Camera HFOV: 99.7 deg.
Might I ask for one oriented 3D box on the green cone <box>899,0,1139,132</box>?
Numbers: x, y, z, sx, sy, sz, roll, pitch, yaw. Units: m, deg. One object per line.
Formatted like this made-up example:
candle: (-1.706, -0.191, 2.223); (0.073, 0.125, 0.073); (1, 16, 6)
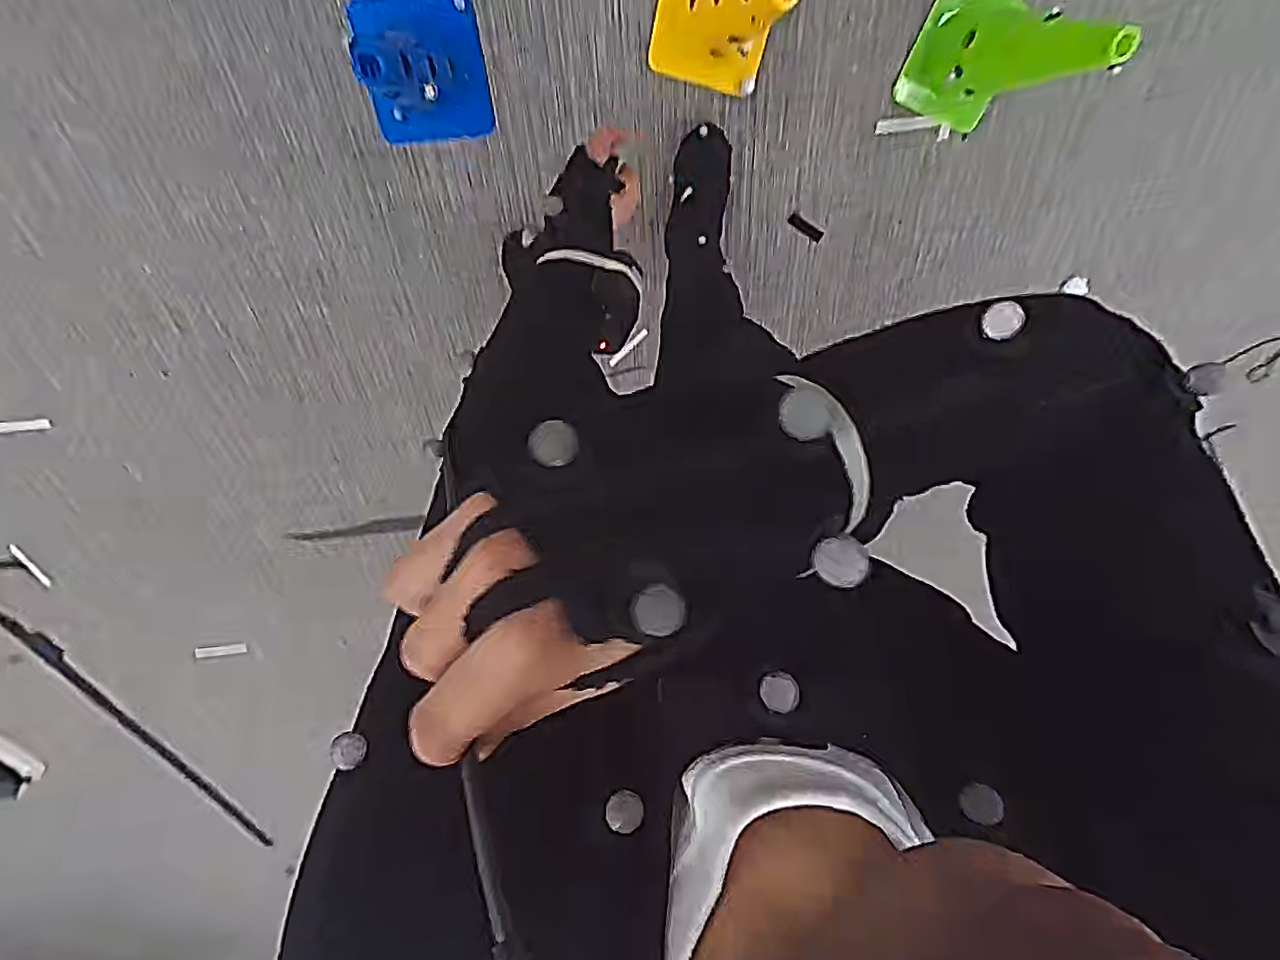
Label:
green cone: (0.621, -0.678, 0.857); (0.200, 0.368, 0.202); (11, 124, -16)
